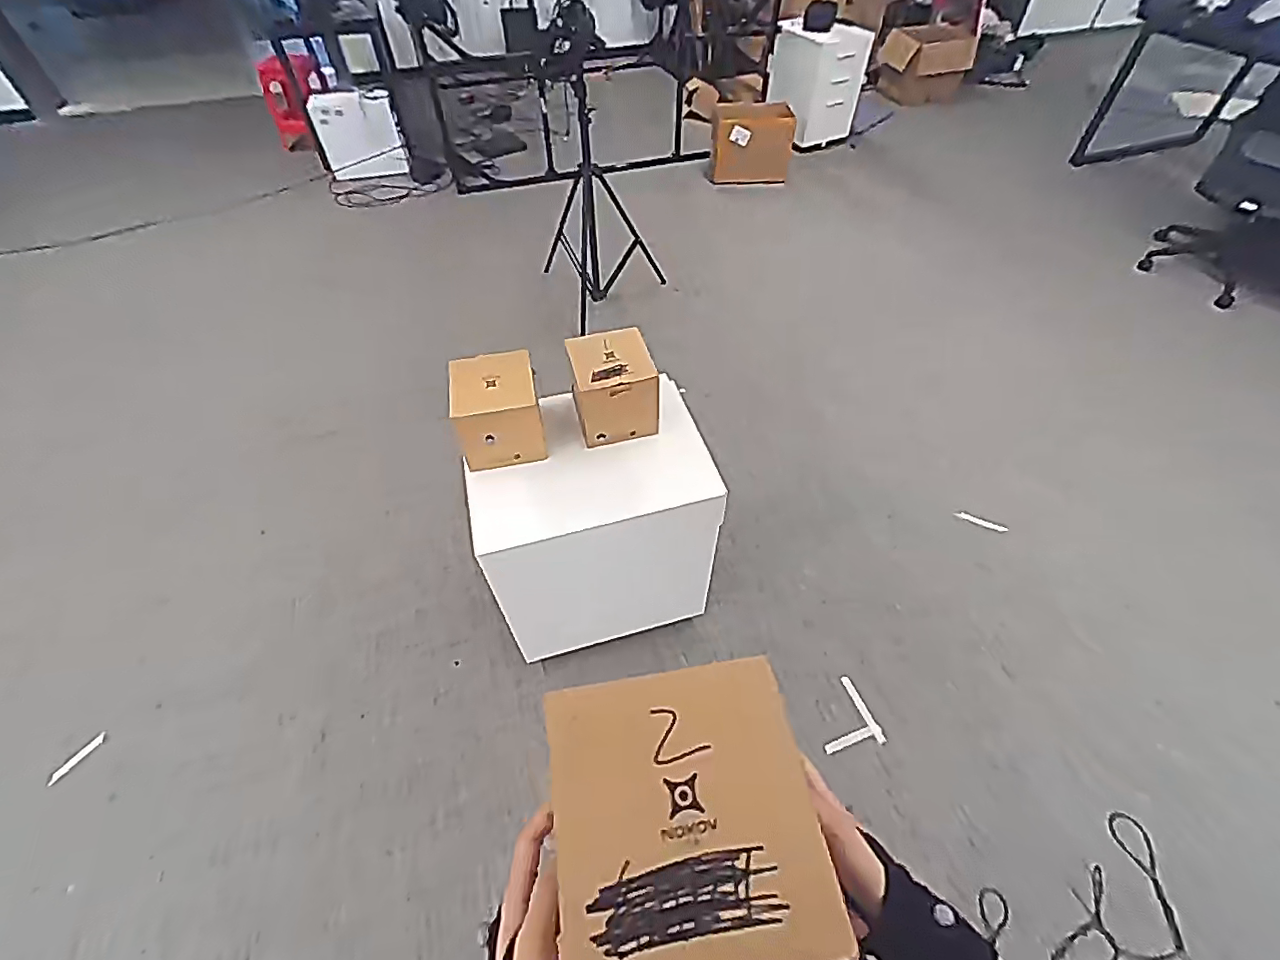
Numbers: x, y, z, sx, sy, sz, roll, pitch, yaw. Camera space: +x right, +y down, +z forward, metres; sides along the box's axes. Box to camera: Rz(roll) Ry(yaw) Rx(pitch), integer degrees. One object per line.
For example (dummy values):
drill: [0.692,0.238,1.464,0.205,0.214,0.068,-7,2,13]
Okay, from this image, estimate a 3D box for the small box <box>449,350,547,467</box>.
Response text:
small box: [-0.296,-0.143,1.140,0.168,0.176,0.179,-10,52,-8]

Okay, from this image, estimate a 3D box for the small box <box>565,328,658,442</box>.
small box: [-0.060,-0.201,1.182,0.168,0.176,0.179,-13,52,-9]
